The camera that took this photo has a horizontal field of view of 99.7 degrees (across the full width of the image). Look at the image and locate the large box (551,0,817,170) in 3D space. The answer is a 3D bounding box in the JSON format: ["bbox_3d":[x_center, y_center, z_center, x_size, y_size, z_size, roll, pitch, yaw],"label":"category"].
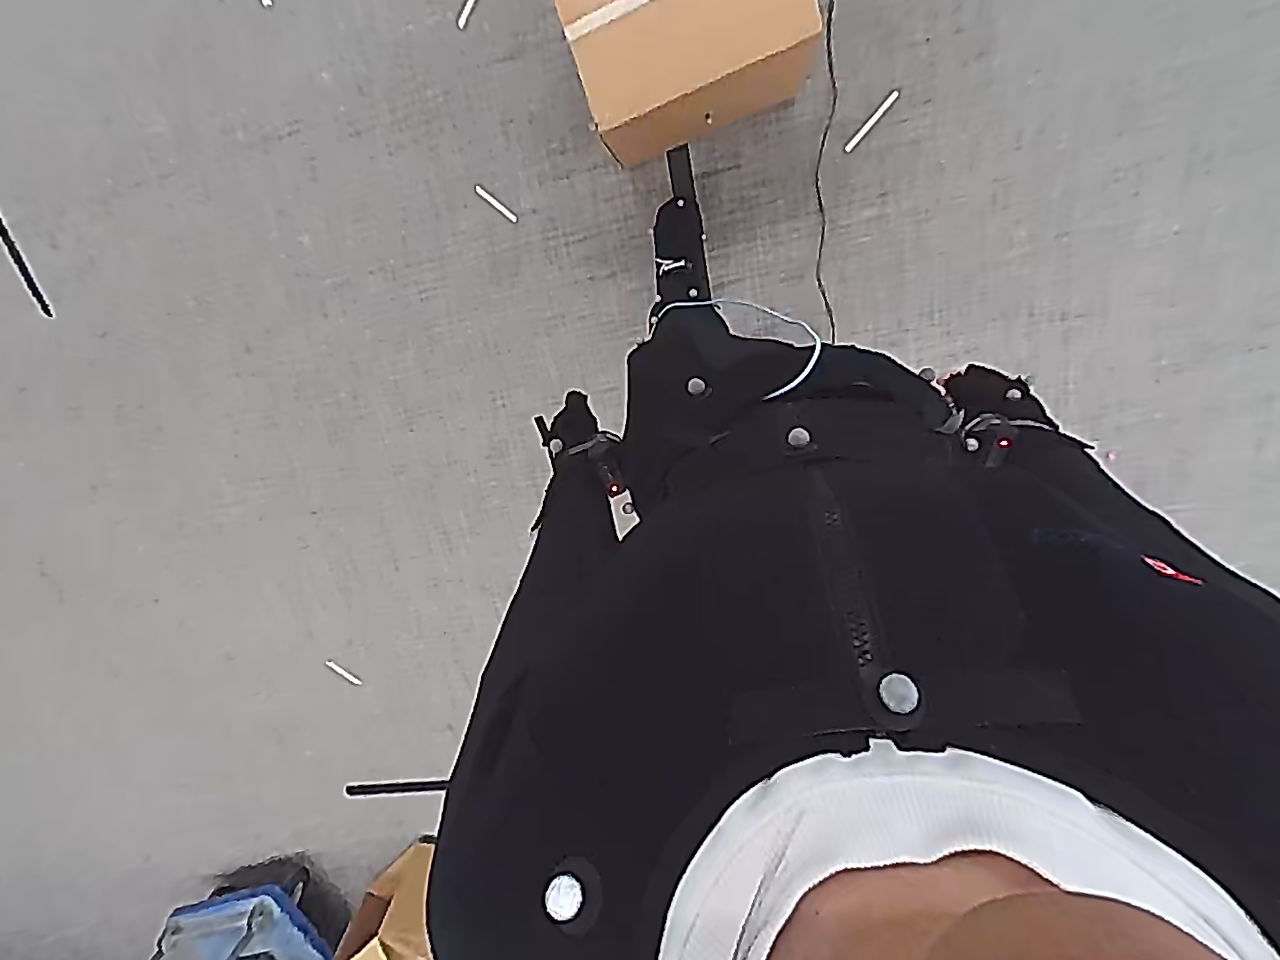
[{"bbox_3d":[0.079,-0.857,1.028,0.408,0.320,0.320,-17,105,14],"label":"large box"}]
